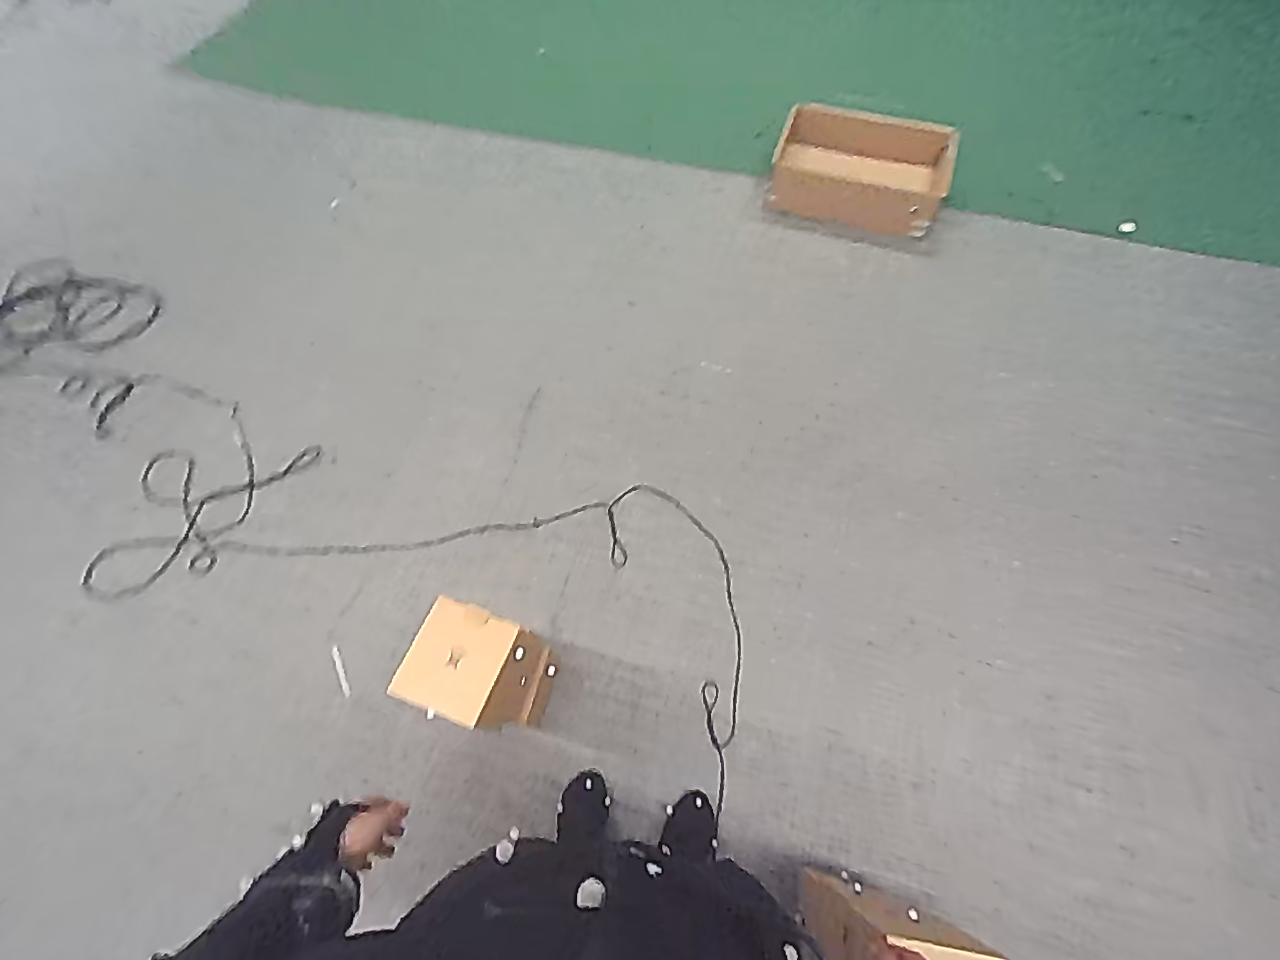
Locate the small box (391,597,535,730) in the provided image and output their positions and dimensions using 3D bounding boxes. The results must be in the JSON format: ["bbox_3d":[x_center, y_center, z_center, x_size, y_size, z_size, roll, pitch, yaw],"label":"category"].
[{"bbox_3d":[-0.310,0.343,0.993,0.168,0.176,0.179,18,64,10],"label":"small box"}]

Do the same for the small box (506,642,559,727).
[{"bbox_3d":[-0.301,0.475,1.292,0.168,0.176,0.179,12,64,8],"label":"small box"}]

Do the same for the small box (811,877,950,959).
[{"bbox_3d":[0.406,0.815,0.933,0.179,0.176,0.168,11,66,5],"label":"small box"}]

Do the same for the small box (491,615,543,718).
[{"bbox_3d":[-0.319,0.393,1.150,0.168,0.176,0.179,14,63,8],"label":"small box"}]

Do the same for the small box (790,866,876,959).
[{"bbox_3d":[0.408,0.896,1.074,0.179,0.176,0.168,13,65,8],"label":"small box"}]
